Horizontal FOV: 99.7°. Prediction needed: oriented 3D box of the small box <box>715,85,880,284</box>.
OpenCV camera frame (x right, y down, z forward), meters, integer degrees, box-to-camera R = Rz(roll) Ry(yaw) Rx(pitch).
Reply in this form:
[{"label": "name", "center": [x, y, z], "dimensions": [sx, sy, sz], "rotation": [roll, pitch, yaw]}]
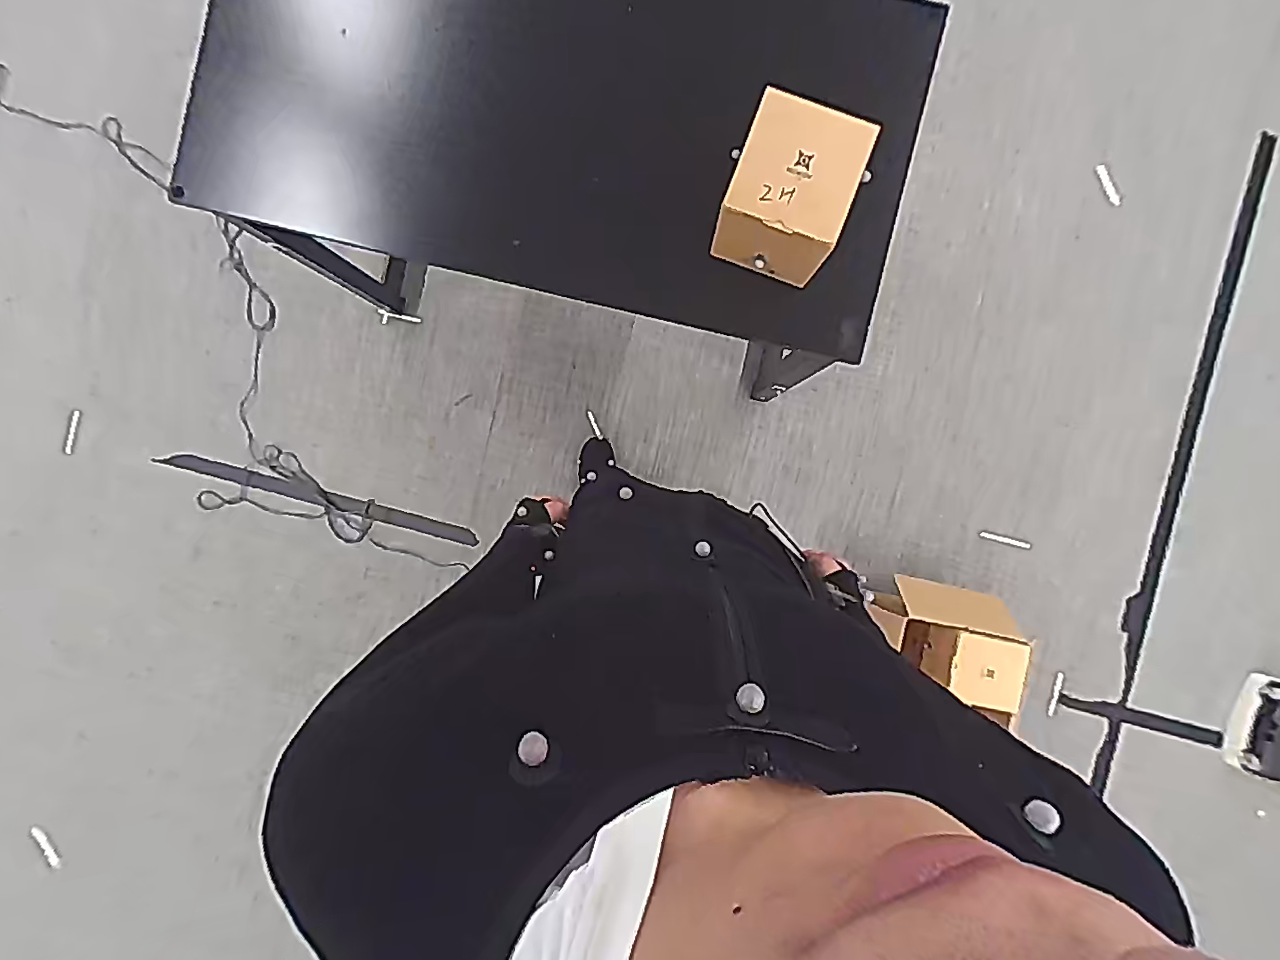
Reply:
[{"label": "small box", "center": [0.220, -0.425, 0.808], "dimensions": [0.168, 0.176, 0.179], "rotation": [21, 92, 2]}]
